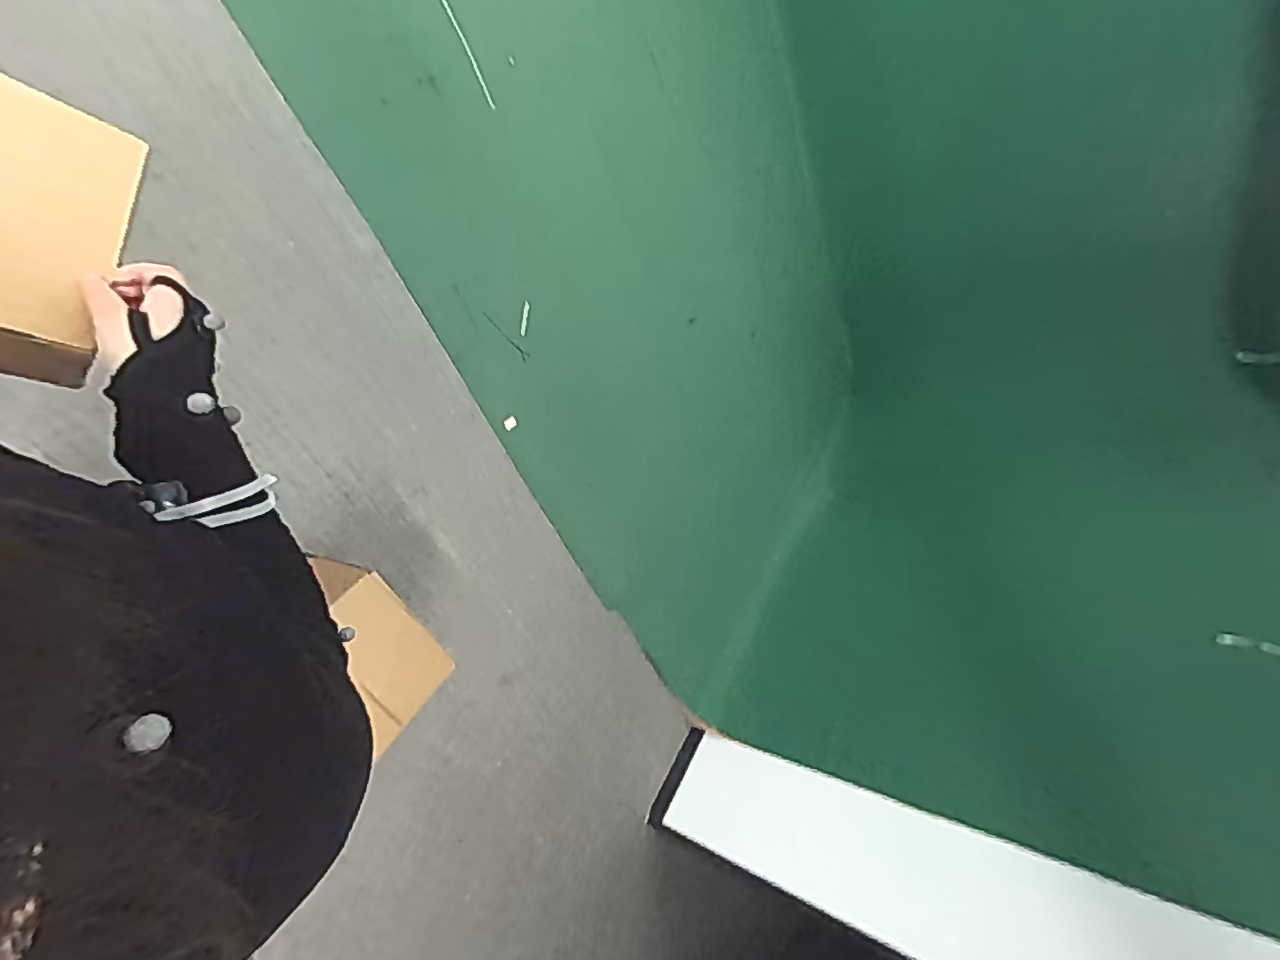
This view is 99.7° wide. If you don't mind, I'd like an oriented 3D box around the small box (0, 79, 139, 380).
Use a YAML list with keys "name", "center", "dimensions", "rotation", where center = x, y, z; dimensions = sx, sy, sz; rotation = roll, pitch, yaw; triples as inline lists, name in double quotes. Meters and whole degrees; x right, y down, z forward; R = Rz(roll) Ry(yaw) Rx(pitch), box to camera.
- name: "small box"
  center: [-0.507, -0.188, 0.400]
  dimensions: [0.168, 0.176, 0.179]
  rotation: [13, 81, -47]
